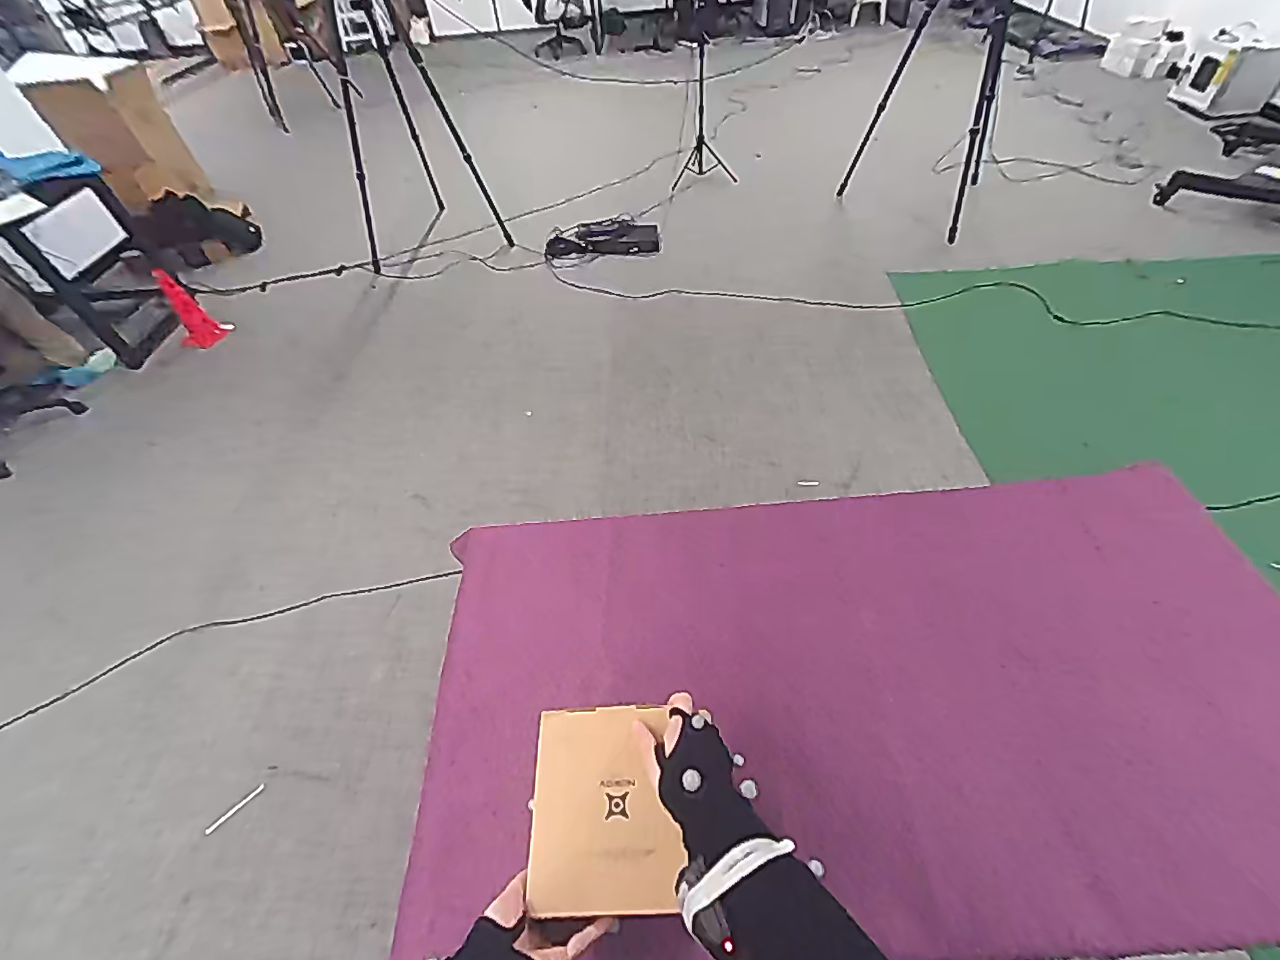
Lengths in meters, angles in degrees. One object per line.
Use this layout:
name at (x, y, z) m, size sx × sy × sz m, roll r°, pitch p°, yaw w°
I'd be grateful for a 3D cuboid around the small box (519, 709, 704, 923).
small box at (-0.022, 0.365, 0.585) m, size 0.168 × 0.176 × 0.179 m, roll -4°, pitch 51°, yaw 3°
